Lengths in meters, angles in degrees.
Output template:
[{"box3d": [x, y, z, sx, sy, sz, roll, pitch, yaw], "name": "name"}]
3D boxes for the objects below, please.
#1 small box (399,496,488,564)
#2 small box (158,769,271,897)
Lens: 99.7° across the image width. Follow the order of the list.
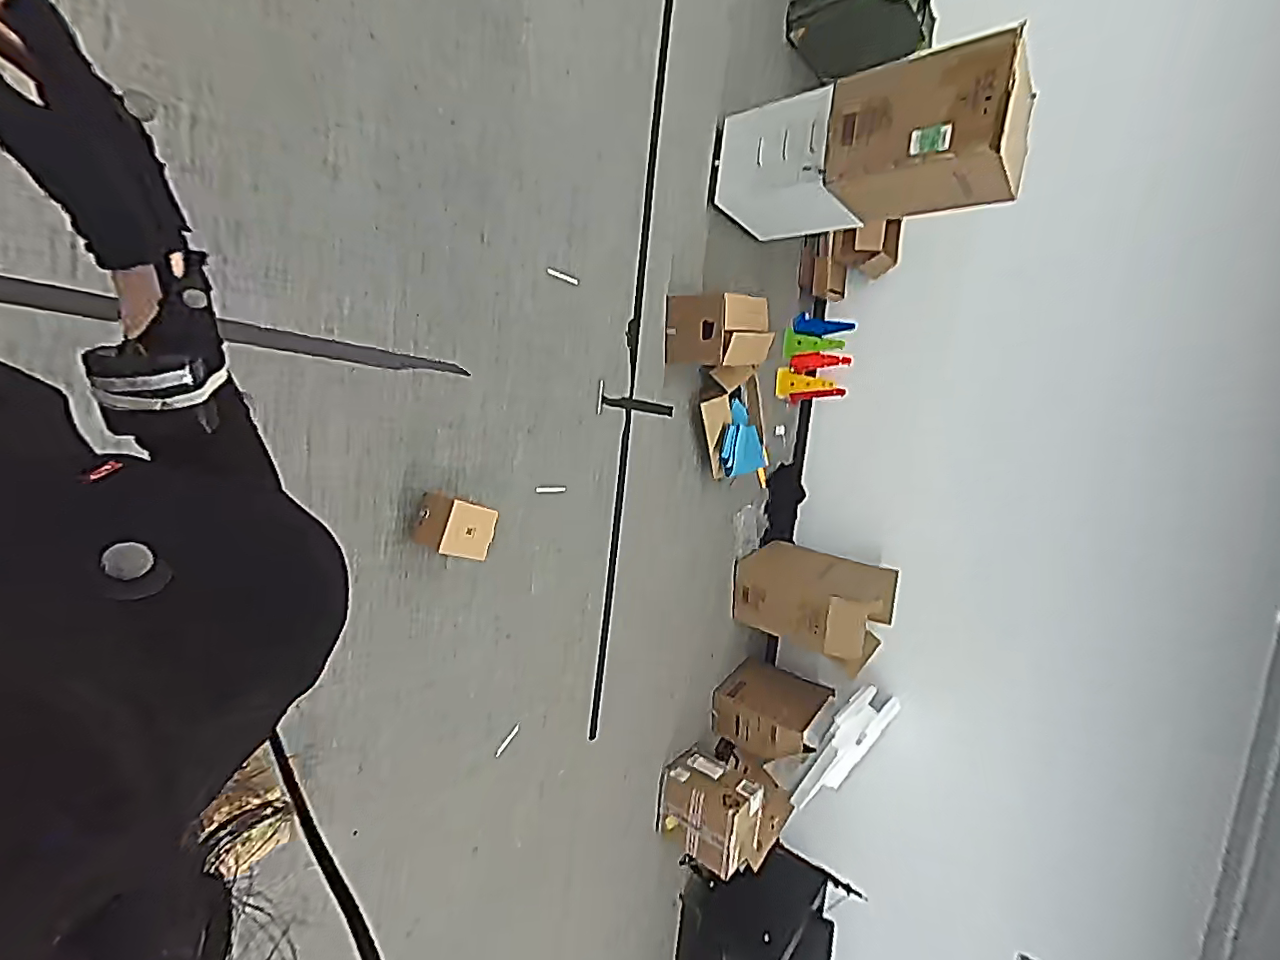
[{"box3d": [-0.616, 0.154, 1.696, 0.179, 0.176, 0.168, 25, 78, -51], "name": "small box"}, {"box3d": [-1.038, 0.843, 1.320, 0.168, 0.176, 0.179, -18, 114, -50], "name": "small box"}]
